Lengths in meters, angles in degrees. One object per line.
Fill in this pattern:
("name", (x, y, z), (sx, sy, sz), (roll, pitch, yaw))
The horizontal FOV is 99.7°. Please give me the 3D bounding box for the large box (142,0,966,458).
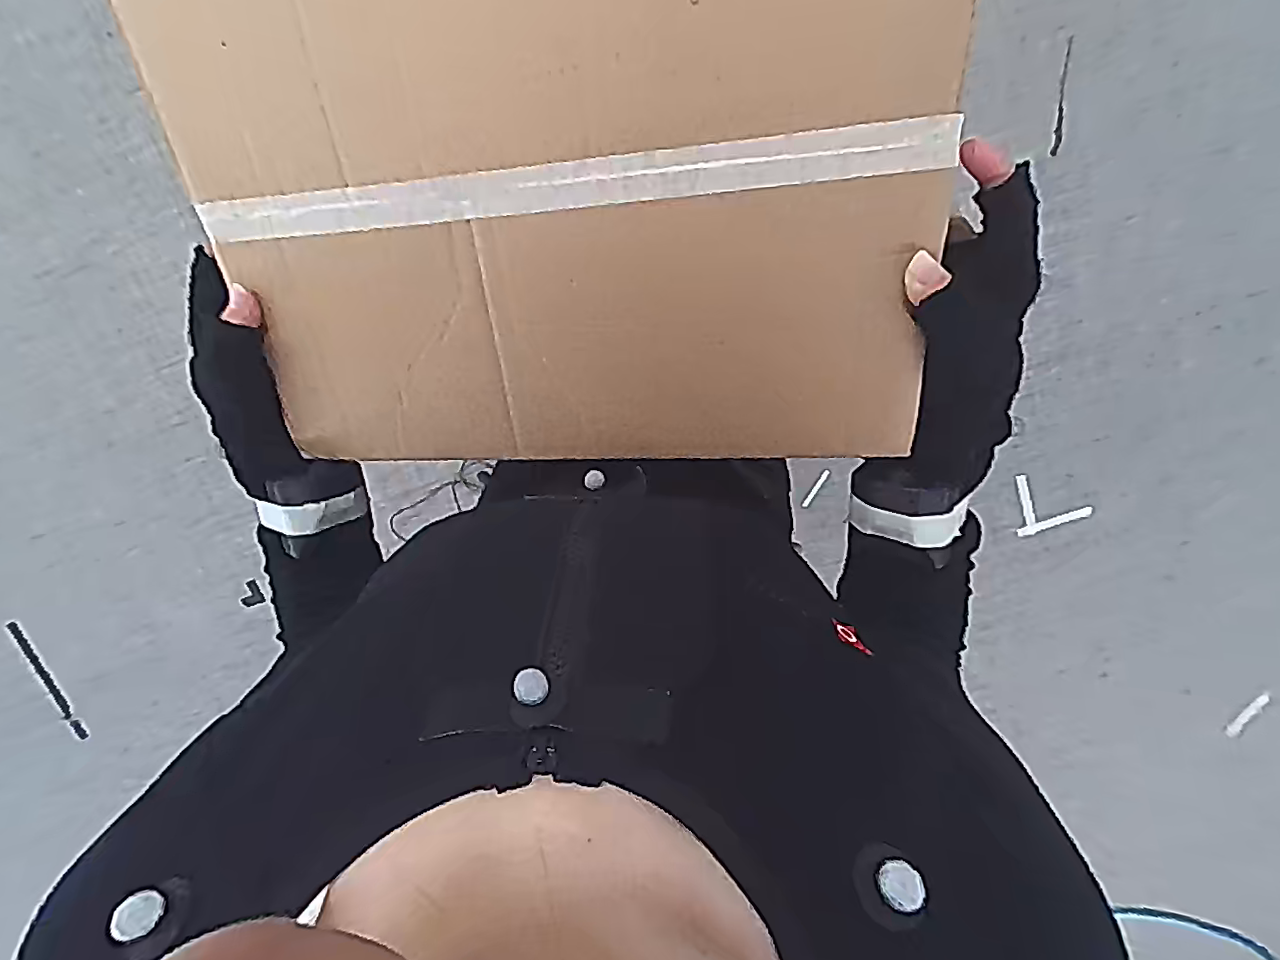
("large box", (-0.024, -0.224, 0.419), (0.408, 0.320, 0.320), (0, 117, 11))
